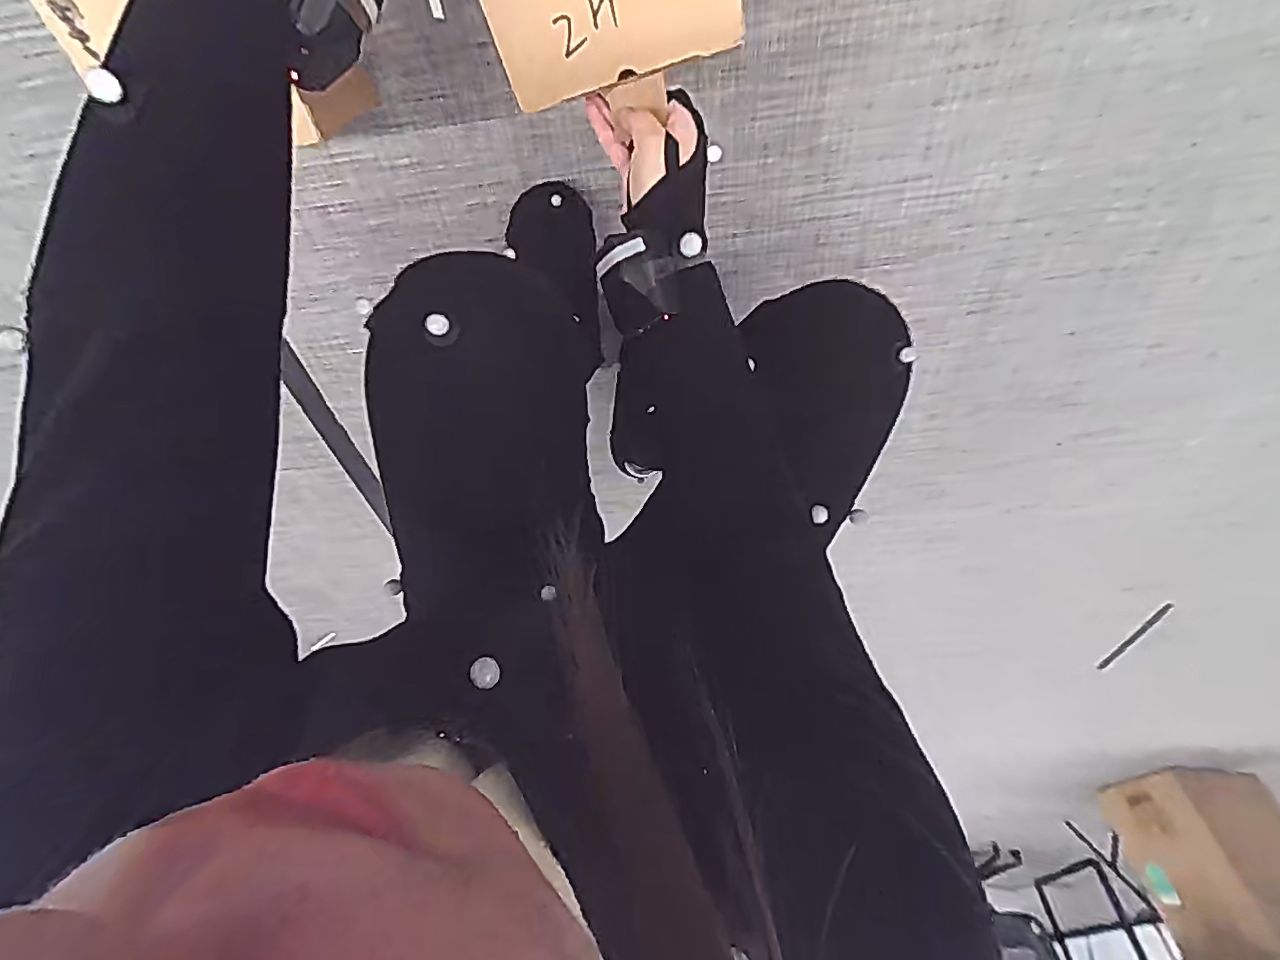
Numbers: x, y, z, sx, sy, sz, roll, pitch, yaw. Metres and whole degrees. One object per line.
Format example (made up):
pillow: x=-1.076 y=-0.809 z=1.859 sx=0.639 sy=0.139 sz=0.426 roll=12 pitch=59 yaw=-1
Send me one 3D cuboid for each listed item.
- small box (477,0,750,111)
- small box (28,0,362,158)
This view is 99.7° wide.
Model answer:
small box: x=-0.022 y=-0.386 z=0.361 sx=0.168 sy=0.176 sz=0.179 roll=-7 pitch=134 yaw=16
small box: x=-0.374 y=-0.406 z=0.477 sx=0.179 sy=0.176 sz=0.168 roll=-3 pitch=136 yaw=2
